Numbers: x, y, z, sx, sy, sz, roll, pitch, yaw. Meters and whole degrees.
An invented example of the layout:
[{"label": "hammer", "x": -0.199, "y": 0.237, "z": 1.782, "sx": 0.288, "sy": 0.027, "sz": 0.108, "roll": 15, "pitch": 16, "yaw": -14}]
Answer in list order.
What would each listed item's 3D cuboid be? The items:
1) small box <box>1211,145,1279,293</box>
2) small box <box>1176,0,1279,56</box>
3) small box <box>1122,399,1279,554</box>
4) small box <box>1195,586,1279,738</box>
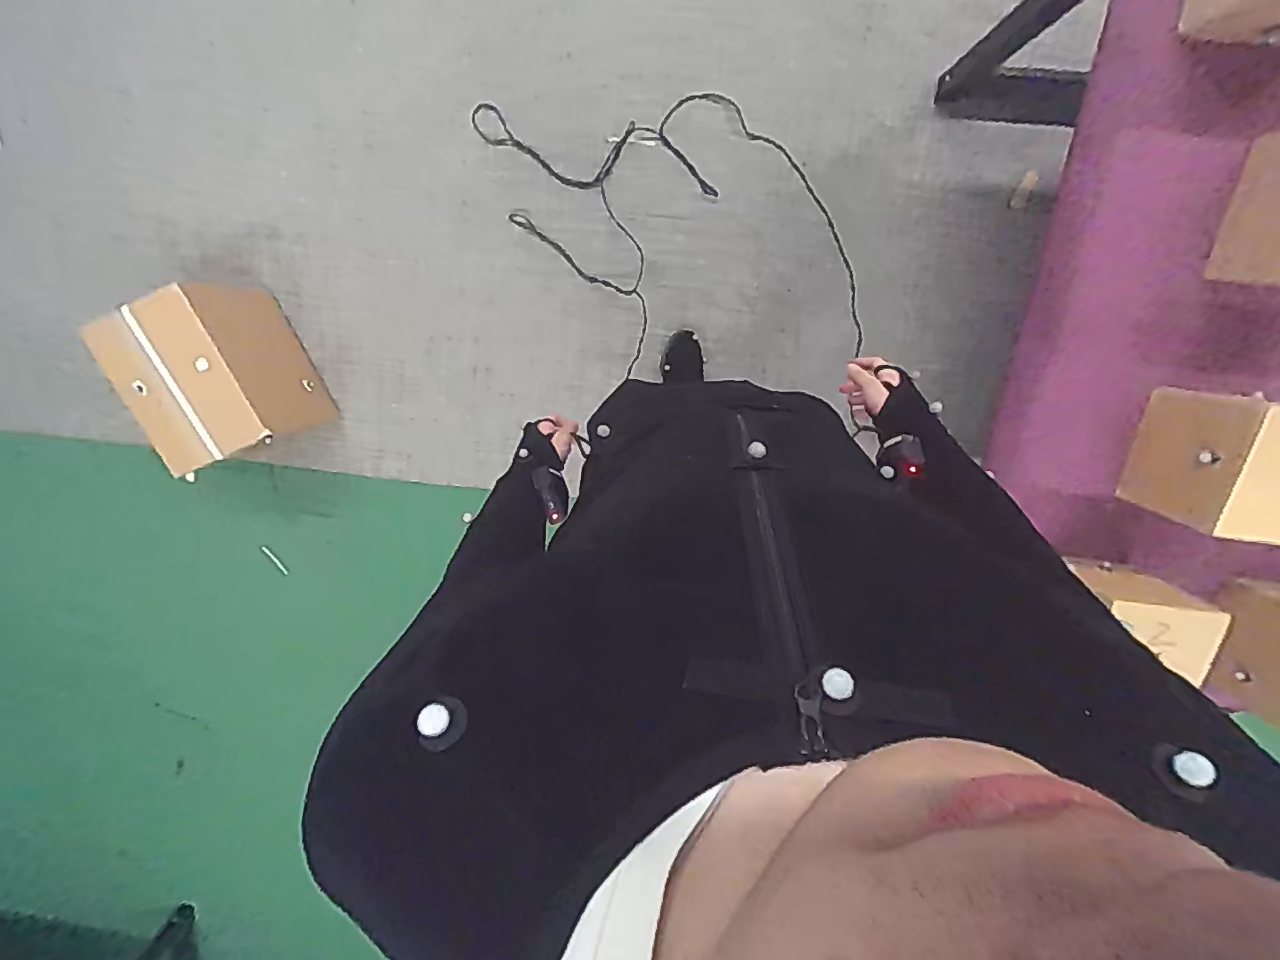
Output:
[{"label": "small box", "x": 0.878, "y": -0.322, "z": 0.660, "sx": 0.168, "sy": 0.176, "sz": 0.179, "roll": 7, "pitch": 106, "yaw": 1}, {"label": "small box", "x": 0.766, "y": -0.595, "z": 0.587, "sx": 0.179, "sy": 0.176, "sz": 0.168, "roll": 4, "pitch": 106, "yaw": 1}, {"label": "small box", "x": 0.837, "y": -0.009, "z": 0.755, "sx": 0.168, "sy": 0.176, "sz": 0.179, "roll": 7, "pitch": 105, "yaw": 2}, {"label": "small box", "x": 1.023, "y": 0.287, "z": 0.824, "sx": 0.168, "sy": 0.176, "sz": 0.179, "roll": 8, "pitch": 105, "yaw": 2}]
